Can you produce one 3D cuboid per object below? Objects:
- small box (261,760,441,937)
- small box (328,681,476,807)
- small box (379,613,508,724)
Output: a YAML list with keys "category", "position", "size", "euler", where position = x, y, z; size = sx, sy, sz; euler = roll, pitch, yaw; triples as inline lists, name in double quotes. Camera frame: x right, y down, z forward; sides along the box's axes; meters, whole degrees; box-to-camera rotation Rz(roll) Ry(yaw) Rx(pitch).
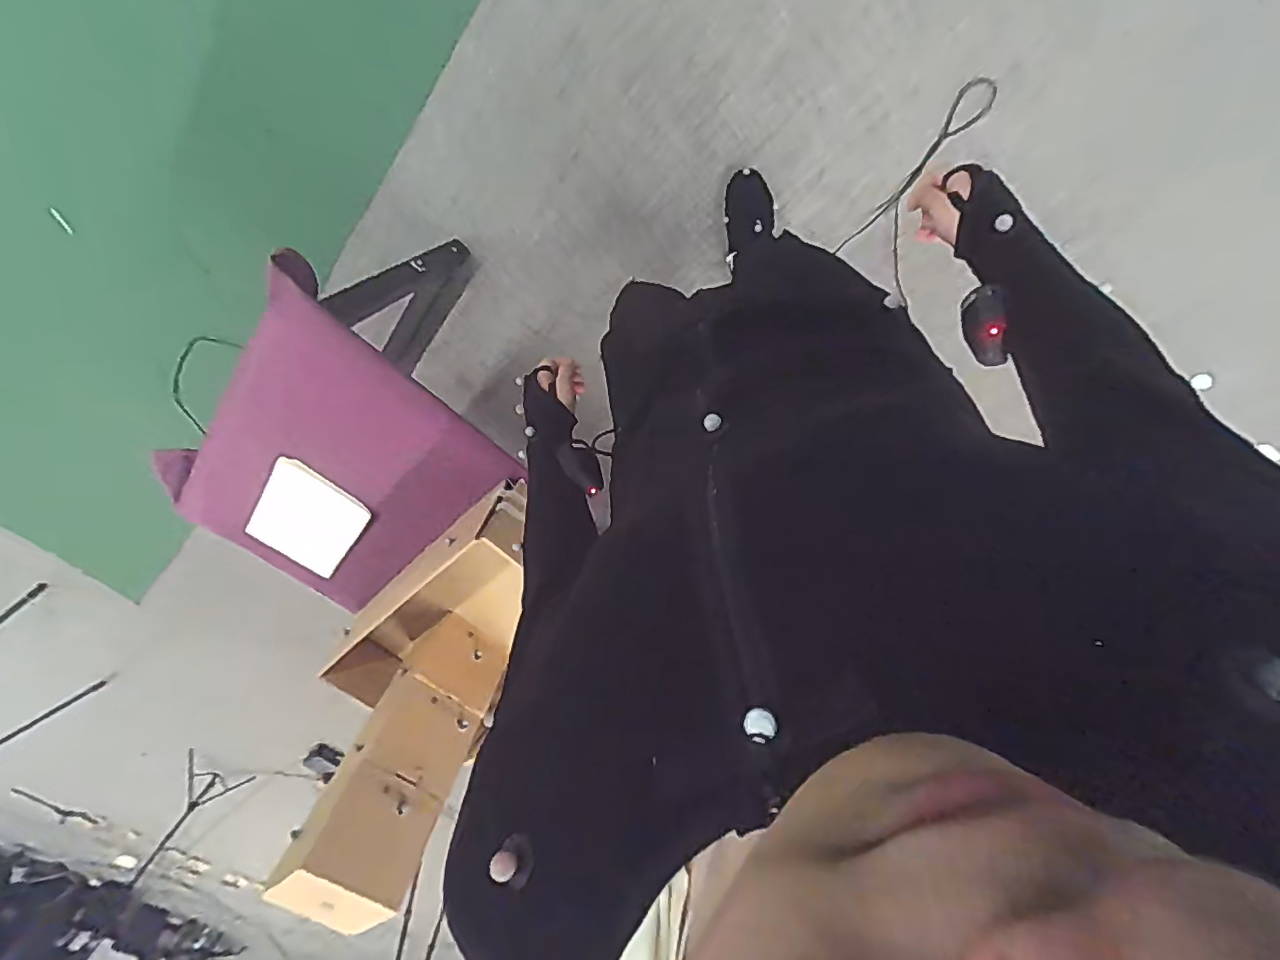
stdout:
- category: "small box"
  position: [-0.459, 0.597, 0.882]
  size: [0.168, 0.176, 0.179]
  euler: [40, 118, -16]
- category: "small box"
  position: [-0.436, 0.513, 1.020]
  size: [0.168, 0.176, 0.179]
  euler: [40, 120, -15]
- category: "small box"
  position: [-0.409, 0.422, 1.155]
  size: [0.168, 0.176, 0.179]
  euler: [41, 118, -16]
